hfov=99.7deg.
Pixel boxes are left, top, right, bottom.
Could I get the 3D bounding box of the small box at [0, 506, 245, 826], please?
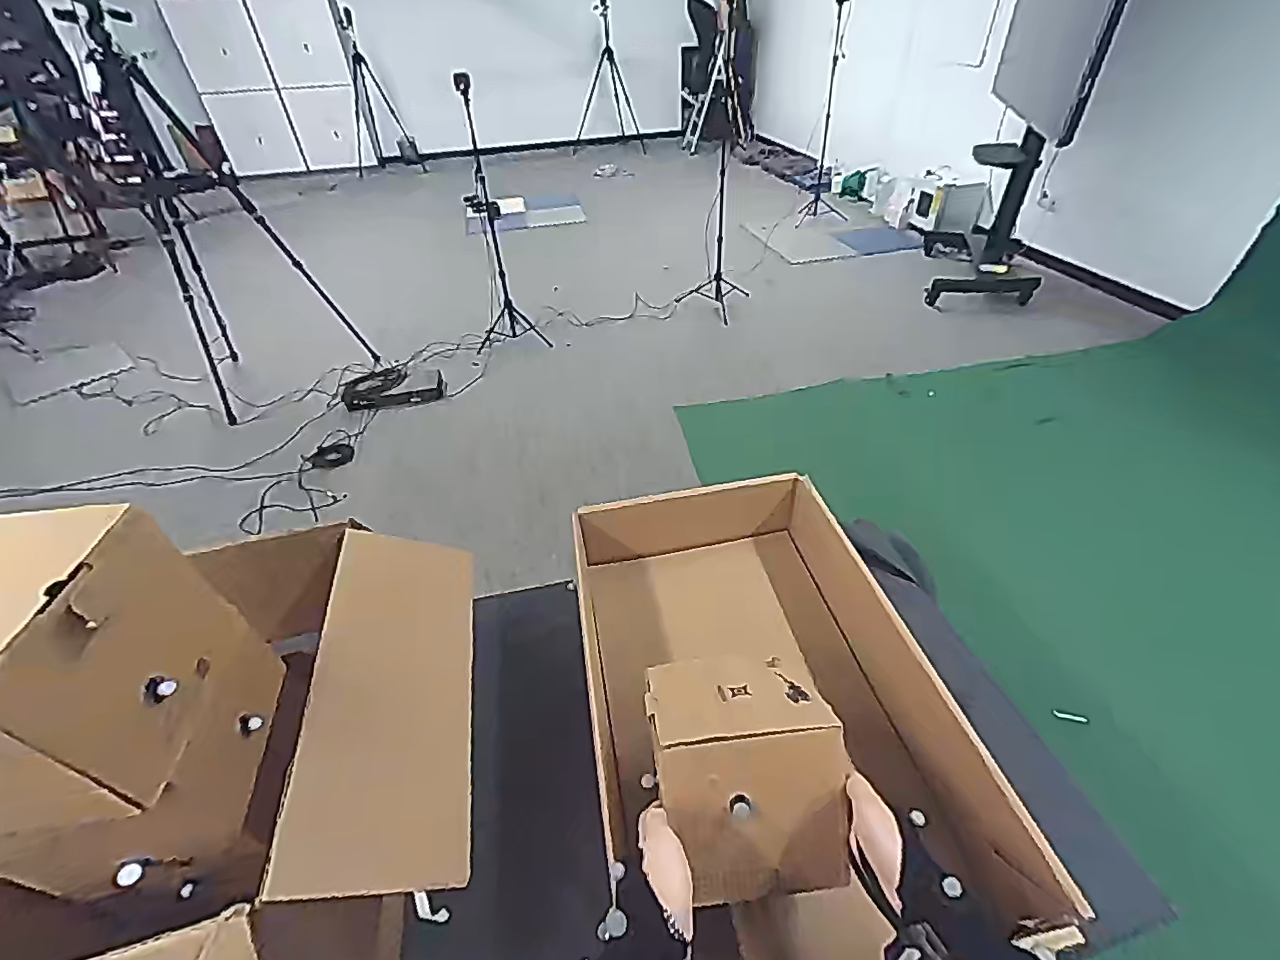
[{"bbox_3d":[-0.456,0.142,0.406,0.179,0.176,0.168,-6,42,-4],"label":"small box"}]
